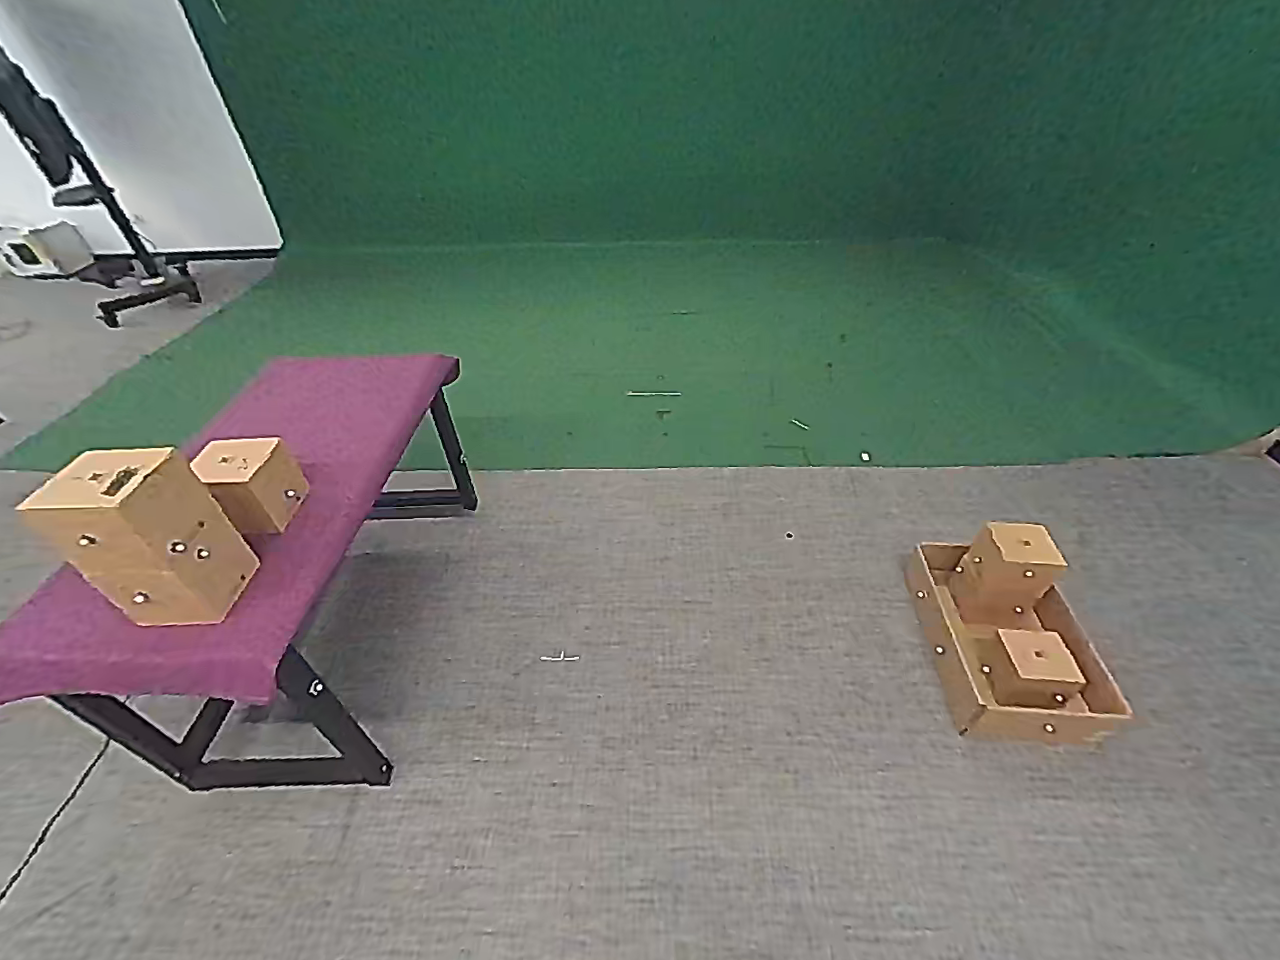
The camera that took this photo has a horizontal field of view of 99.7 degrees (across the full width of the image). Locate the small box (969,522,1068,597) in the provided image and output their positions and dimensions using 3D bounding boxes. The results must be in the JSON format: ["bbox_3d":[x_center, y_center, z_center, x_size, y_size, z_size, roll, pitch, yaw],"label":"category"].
[{"bbox_3d":[1.184,0.255,1.707,0.179,0.176,0.168,3,42,5],"label":"small box"}]

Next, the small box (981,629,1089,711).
[{"bbox_3d":[1.157,0.564,1.600,0.179,0.176,0.168,2,40,6],"label":"small box"}]

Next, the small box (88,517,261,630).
[{"bbox_3d":[-0.948,0.197,1.121,0.179,0.176,0.168,-3,41,1],"label":"small box"}]

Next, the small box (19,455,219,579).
[{"bbox_3d":[-0.953,0.071,1.015,0.179,0.176,0.168,-3,40,1],"label":"small box"}]

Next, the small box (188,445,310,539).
[{"bbox_3d":[-0.951,0.032,1.312,0.179,0.176,0.168,-3,41,0],"label":"small box"}]
